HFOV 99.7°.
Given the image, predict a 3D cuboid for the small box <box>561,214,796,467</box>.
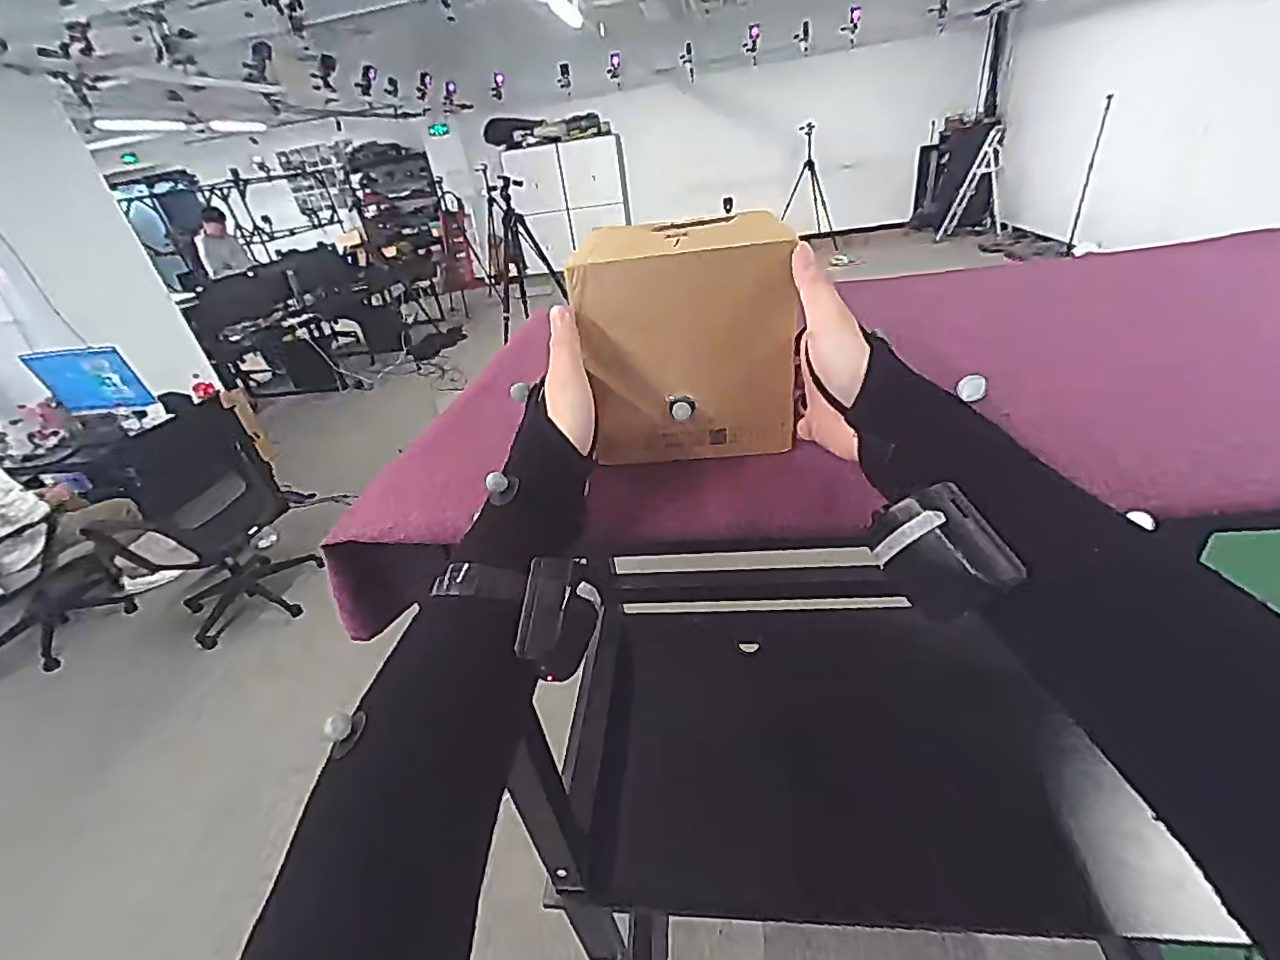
[{"bbox_3d":[0.039,-0.128,0.484,0.168,0.176,0.179,-4,33,7],"label":"small box"}]
